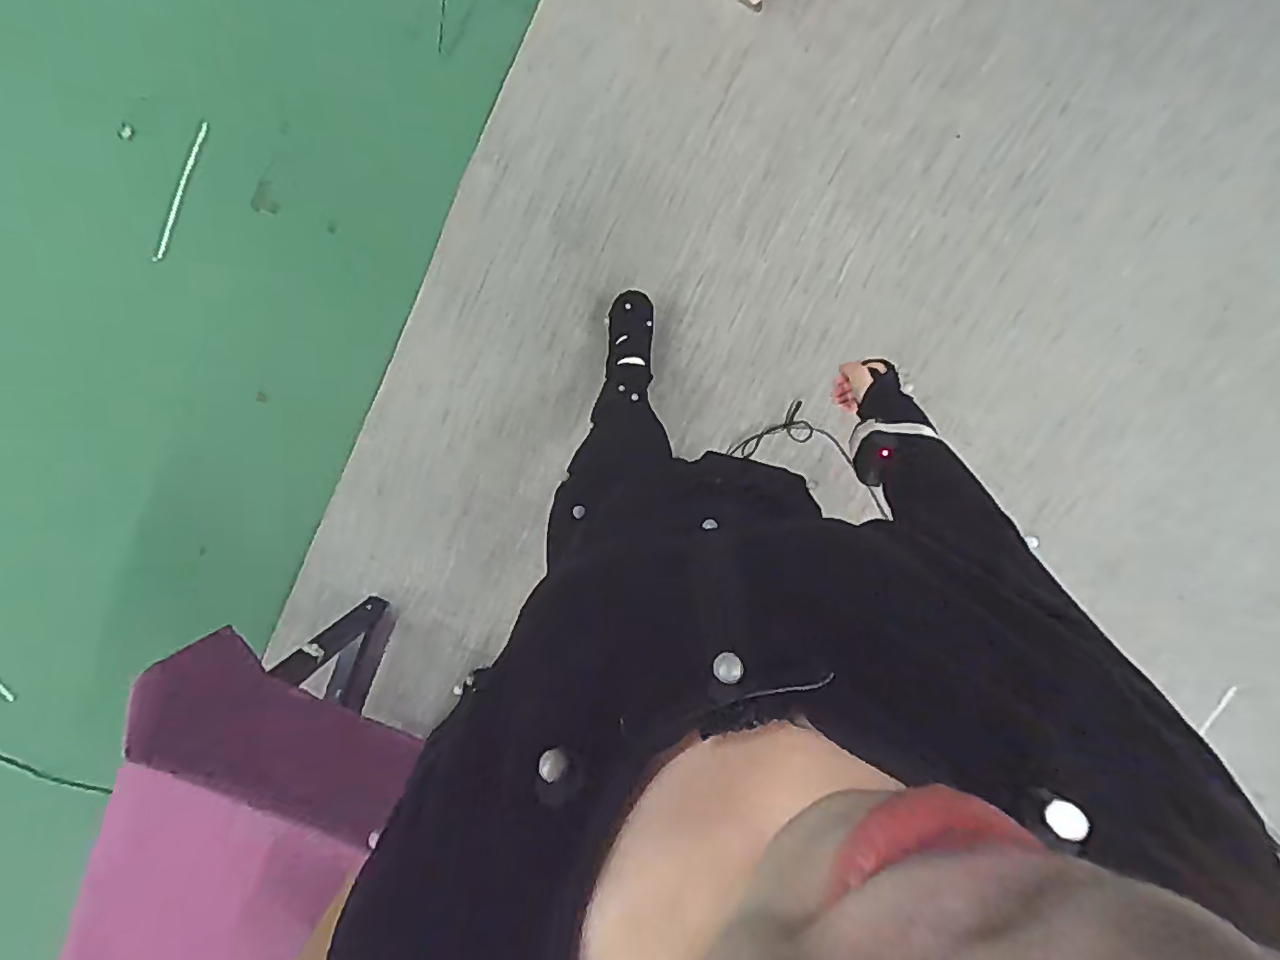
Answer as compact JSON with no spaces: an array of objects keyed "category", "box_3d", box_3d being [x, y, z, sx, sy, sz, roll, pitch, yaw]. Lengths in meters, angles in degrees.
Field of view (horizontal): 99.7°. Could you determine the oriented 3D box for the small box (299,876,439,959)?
[{"category":"small box","box_3d":[-0.418,0.734,0.785,0.168,0.176,0.179,27,99,-3]}]
